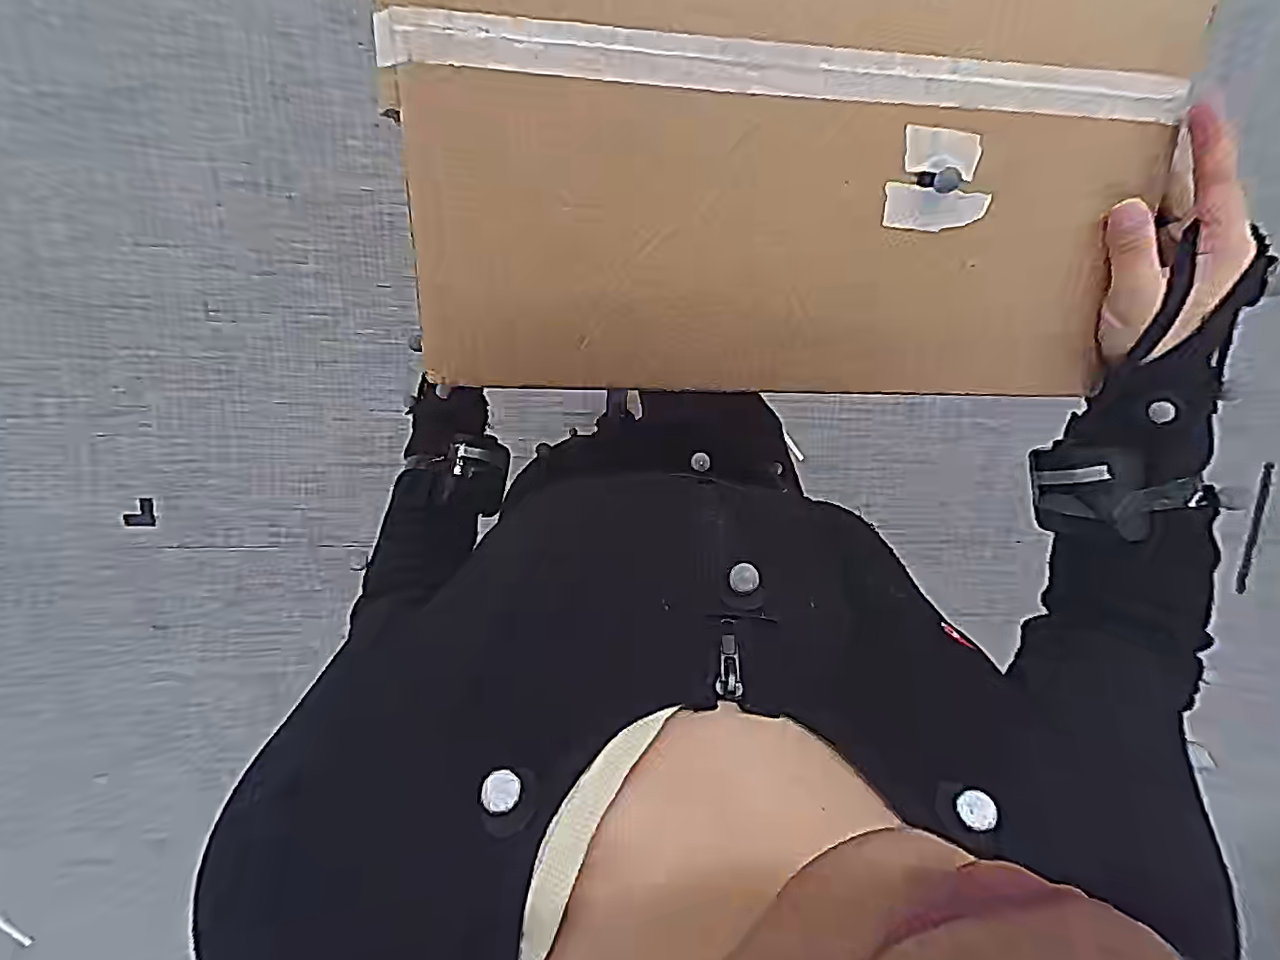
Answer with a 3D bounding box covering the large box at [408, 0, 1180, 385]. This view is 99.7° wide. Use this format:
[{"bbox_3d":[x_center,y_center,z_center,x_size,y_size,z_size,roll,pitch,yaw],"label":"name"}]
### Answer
[{"bbox_3d":[0.067,-0.252,0.419,0.408,0.320,0.320,-1,109,-8],"label":"large box"}]
